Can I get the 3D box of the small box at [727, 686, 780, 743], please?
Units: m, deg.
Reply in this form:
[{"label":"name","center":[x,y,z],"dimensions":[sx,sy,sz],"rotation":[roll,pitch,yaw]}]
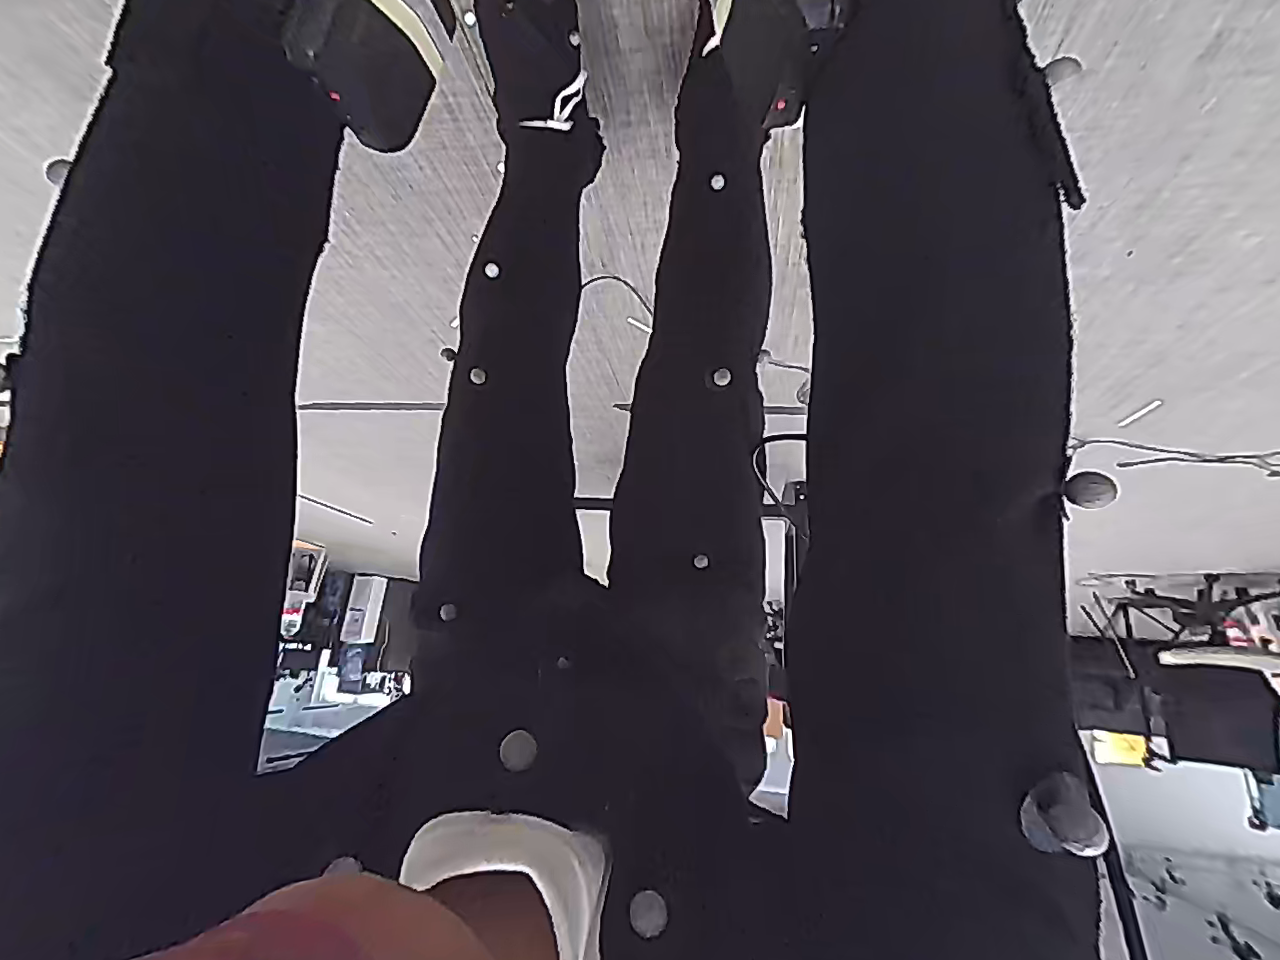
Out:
[{"label":"small box","center":[0.416,0.856,1.988],"dimensions":[0.168,0.176,0.179],"rotation":[4,161,3]}]
